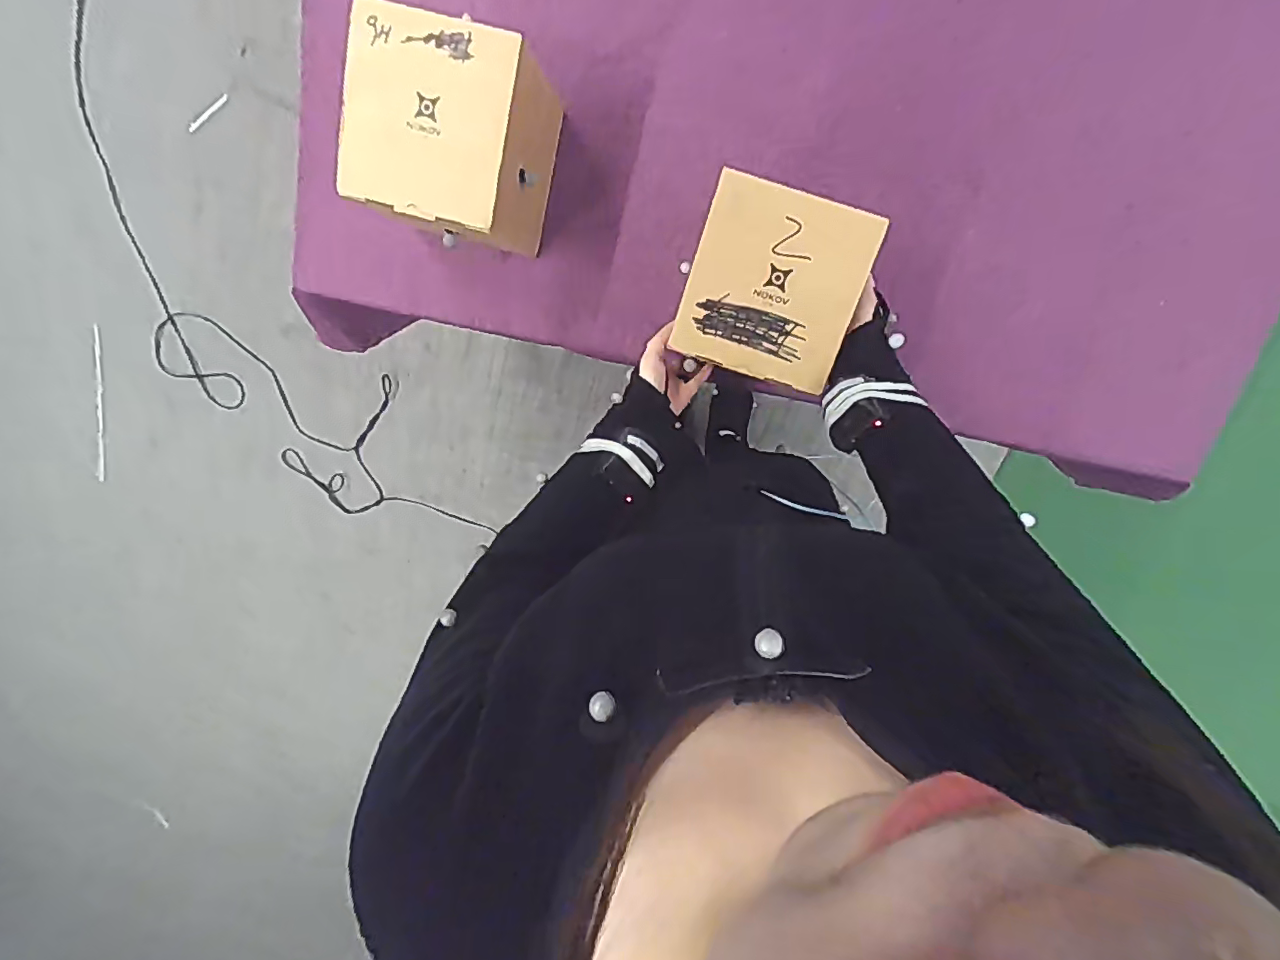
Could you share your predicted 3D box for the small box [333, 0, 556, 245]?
[{"bbox_3d":[-0.200,-0.374,0.591,0.168,0.176,0.179,16,106,0],"label":"small box"}]
